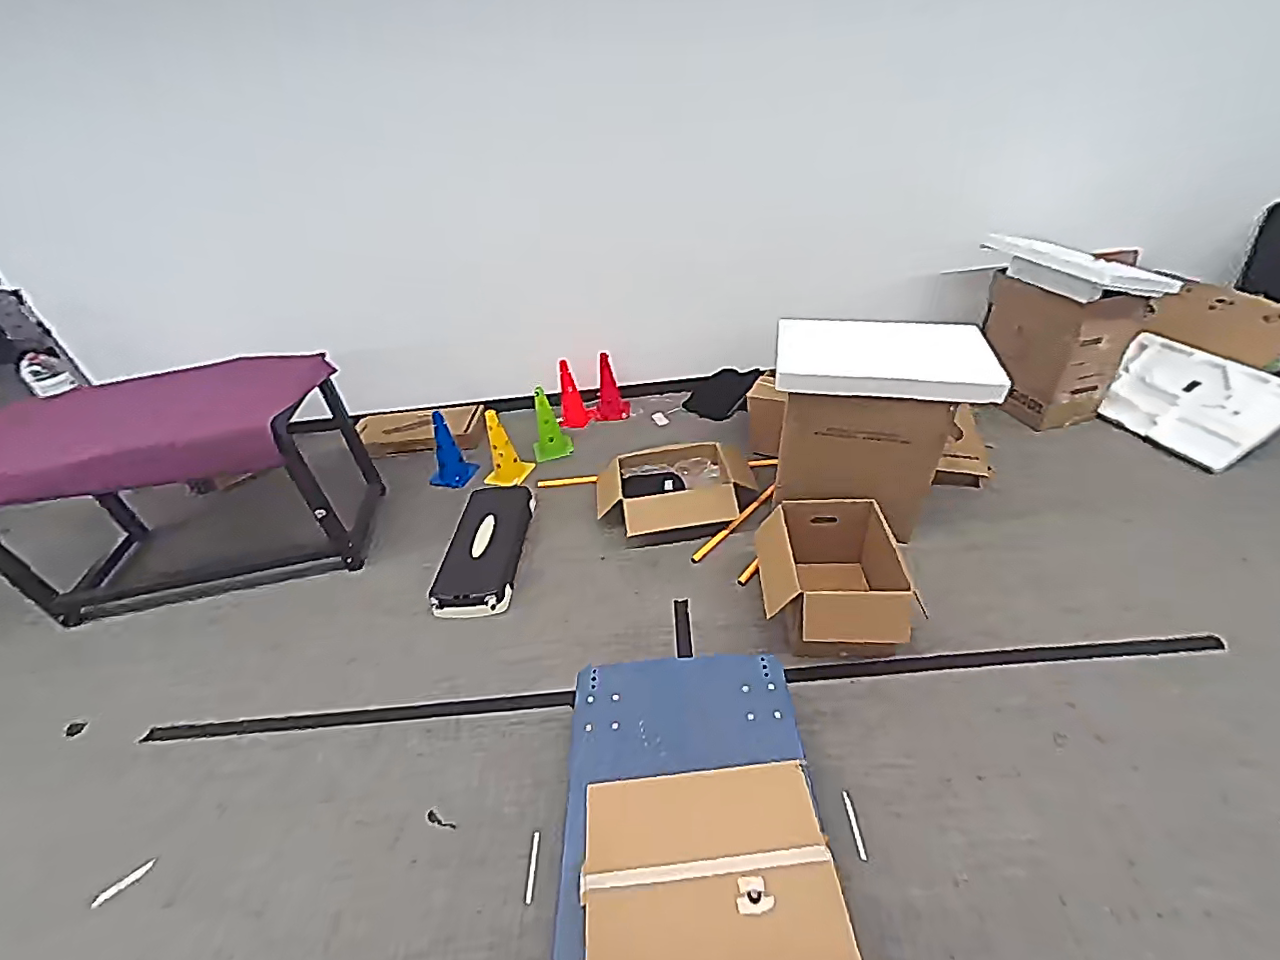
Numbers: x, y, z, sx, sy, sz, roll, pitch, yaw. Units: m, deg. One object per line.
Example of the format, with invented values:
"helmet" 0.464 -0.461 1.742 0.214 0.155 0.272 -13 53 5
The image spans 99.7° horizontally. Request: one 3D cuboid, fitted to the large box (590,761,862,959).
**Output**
"large box" 0.128 0.765 0.985 0.408 0.320 0.320 -7 37 -1
